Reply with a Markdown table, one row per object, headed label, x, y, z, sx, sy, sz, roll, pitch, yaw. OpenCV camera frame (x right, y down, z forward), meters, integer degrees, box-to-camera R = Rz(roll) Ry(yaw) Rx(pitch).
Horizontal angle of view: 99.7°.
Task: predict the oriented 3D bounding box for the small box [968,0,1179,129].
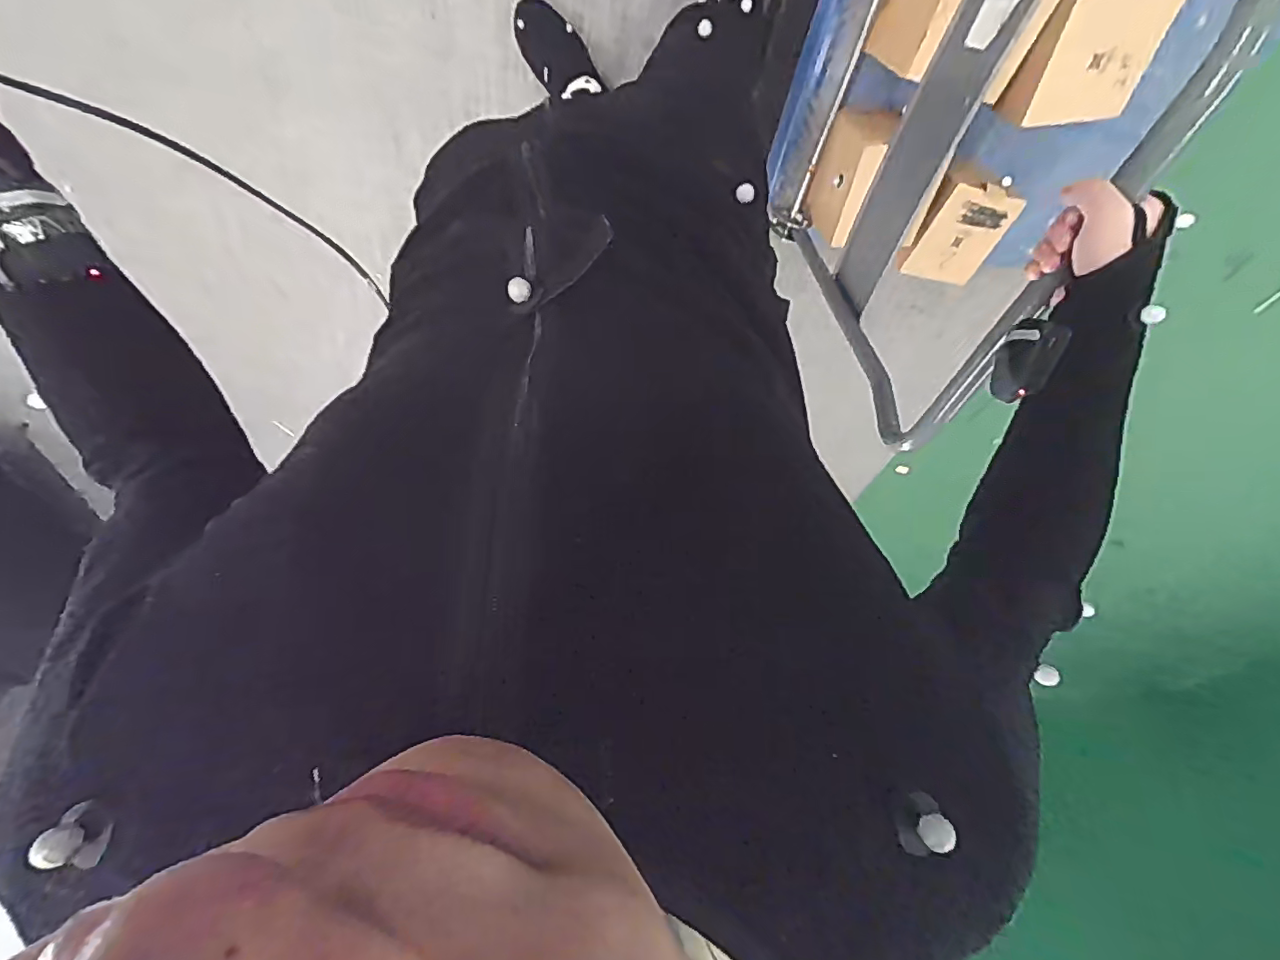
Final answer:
| label | x | y | z | sx | sy | sz | roll | pitch | yaw |
| --- | --- | --- | --- | --- | --- | --- | --- | --- | --- |
| small box | 0.680 | -0.695 | 0.876 | 0.179 | 0.176 | 0.168 | -8 | 142 | -4 |
